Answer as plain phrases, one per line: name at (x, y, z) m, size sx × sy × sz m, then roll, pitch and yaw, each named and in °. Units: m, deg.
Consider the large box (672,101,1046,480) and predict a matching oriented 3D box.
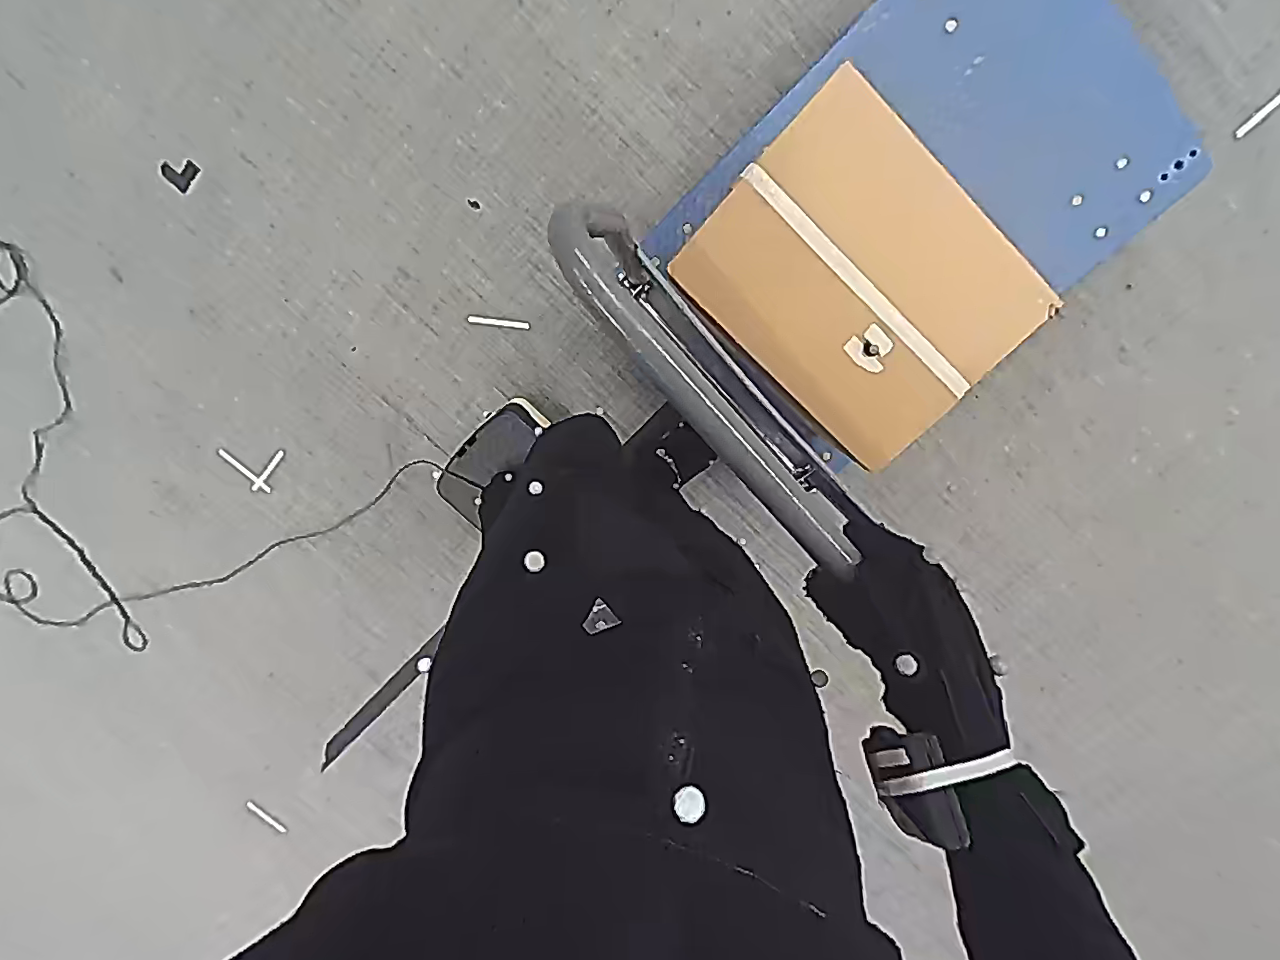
large box at (0.296, -0.271, 0.863) m, size 0.408 × 0.320 × 0.320 m, roll 42°, pitch 104°, yaw -8°
